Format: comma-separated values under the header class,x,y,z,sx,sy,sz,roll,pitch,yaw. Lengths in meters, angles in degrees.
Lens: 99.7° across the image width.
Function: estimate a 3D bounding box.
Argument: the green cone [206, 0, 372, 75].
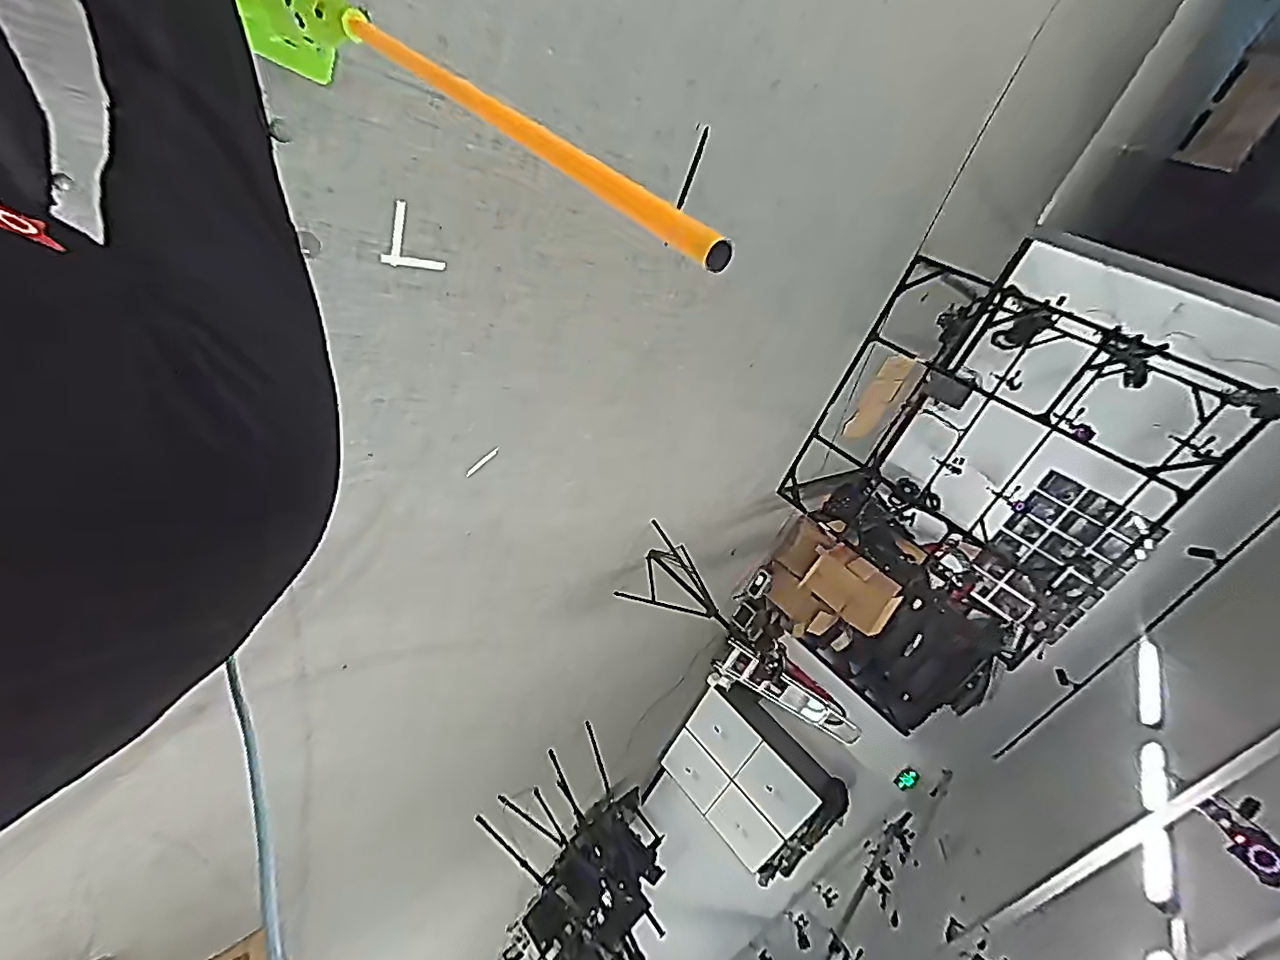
class,x,y,z,sx,sy,sz,roll,pitch,yaw
green cone,-0.558,-0.801,0.915,0.202,0.368,0.200,-7,130,-51
